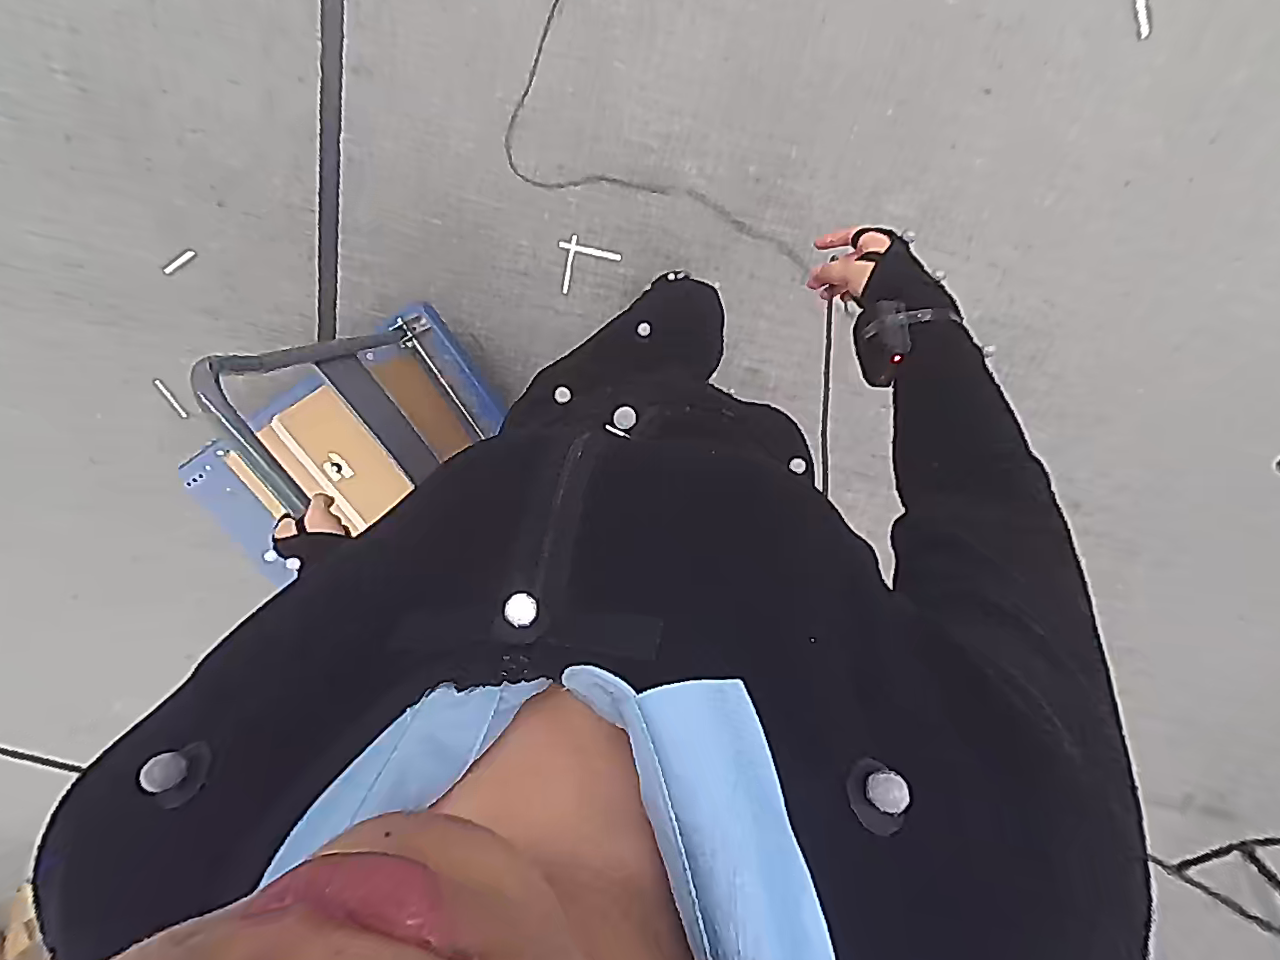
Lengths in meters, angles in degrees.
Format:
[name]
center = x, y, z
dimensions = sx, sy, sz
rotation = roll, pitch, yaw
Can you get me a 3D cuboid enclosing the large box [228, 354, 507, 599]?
[large box]
center = -0.575, -0.017, 1.226
dimensions = 0.320, 0.320, 0.408
rotation = -28, 107, 14
